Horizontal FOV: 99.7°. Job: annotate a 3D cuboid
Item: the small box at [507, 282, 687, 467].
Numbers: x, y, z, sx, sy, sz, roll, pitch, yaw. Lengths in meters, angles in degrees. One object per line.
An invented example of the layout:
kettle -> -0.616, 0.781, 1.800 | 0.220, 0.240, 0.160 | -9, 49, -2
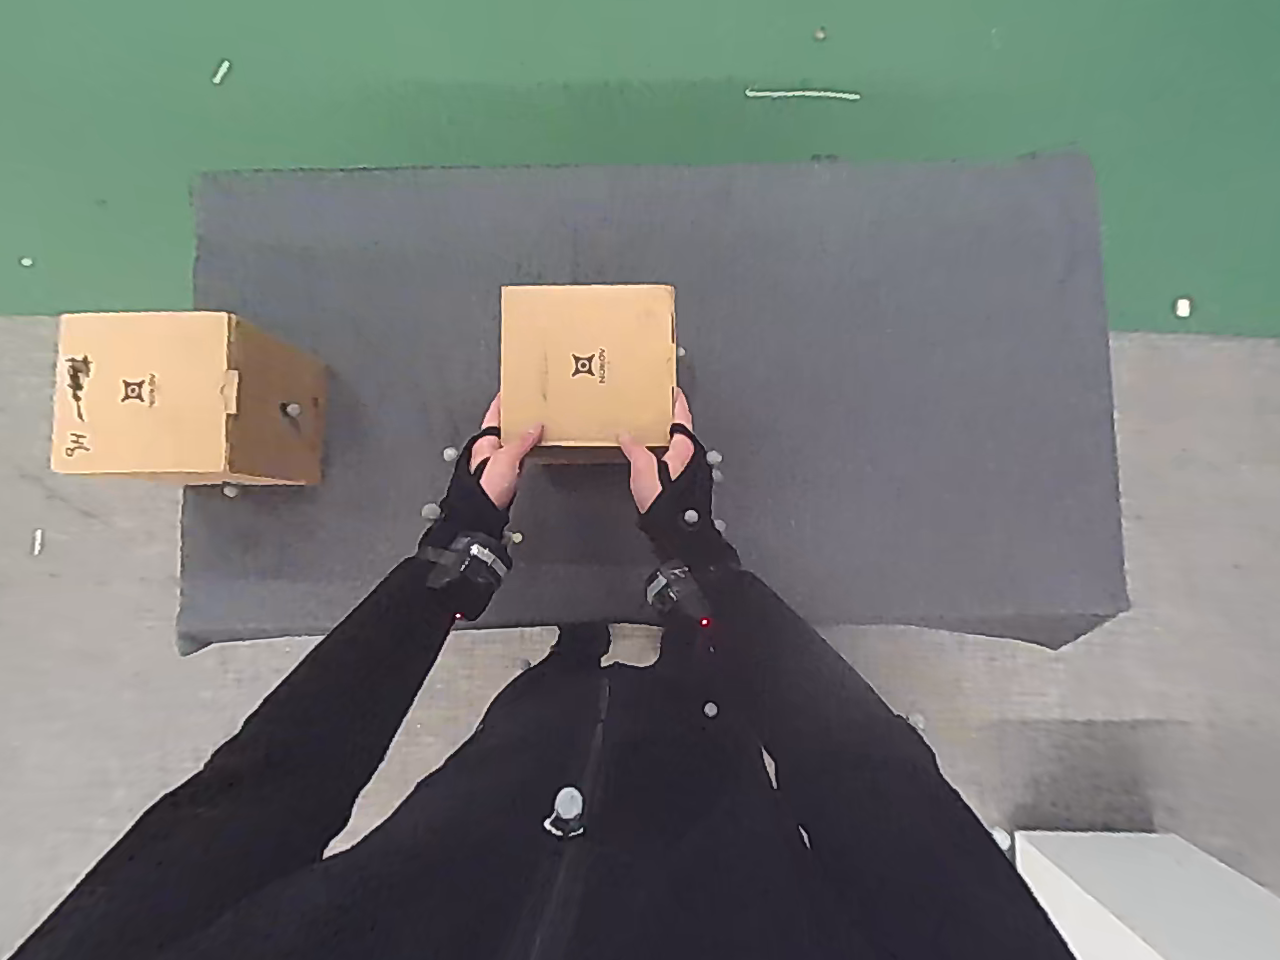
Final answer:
small box -> -0.041, -0.107, 0.610 | 0.179, 0.176, 0.168 | 0, 84, 1

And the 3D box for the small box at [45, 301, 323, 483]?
small box -> -0.488, -0.086, 0.609 | 0.179, 0.176, 0.168 | 1, 85, -2
